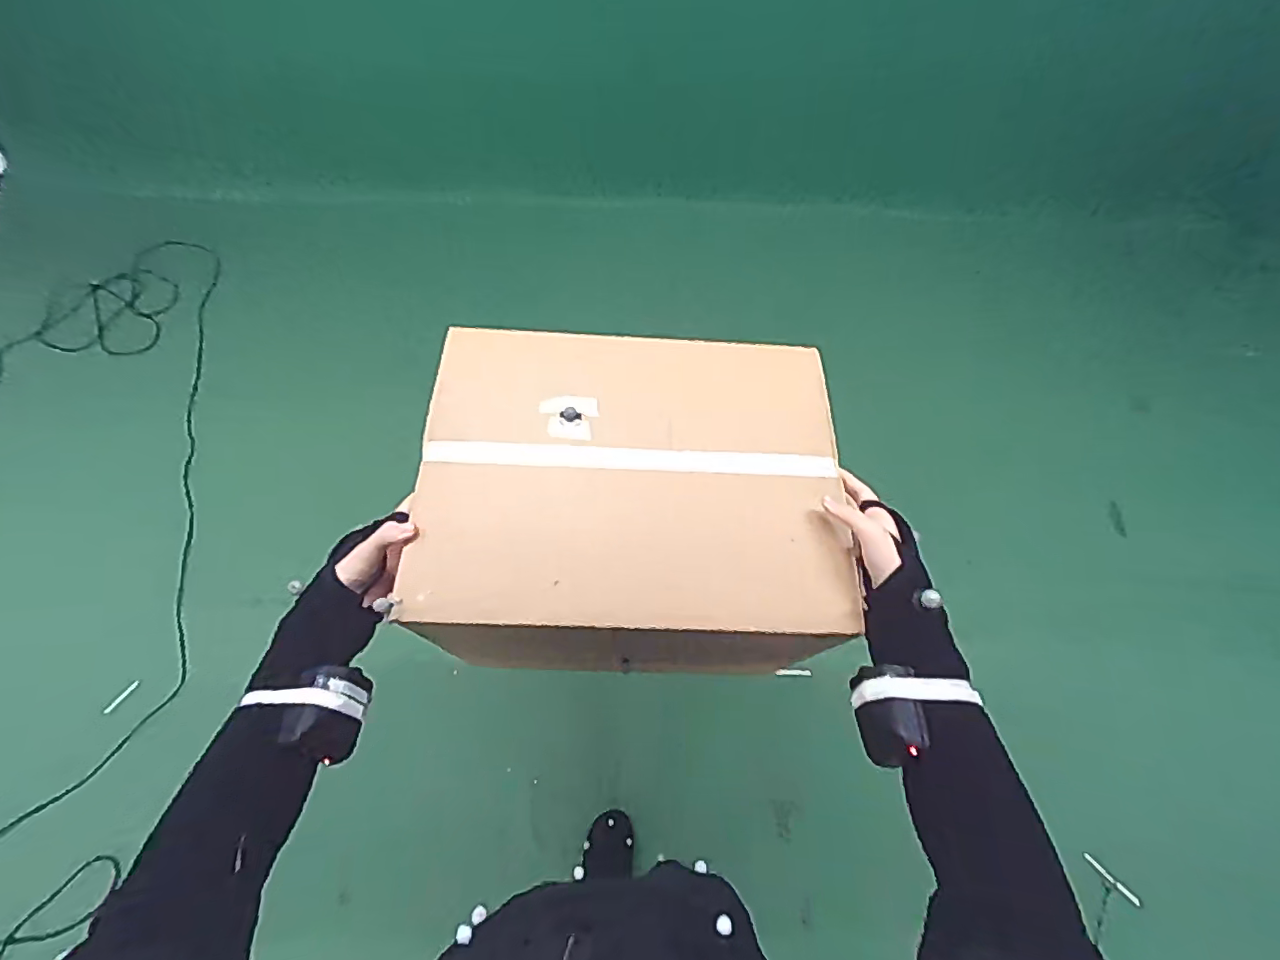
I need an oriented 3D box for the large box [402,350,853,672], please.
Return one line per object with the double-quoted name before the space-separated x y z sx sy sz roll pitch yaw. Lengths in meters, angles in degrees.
"large box" -0.012 0.062 0.670 0.408 0.320 0.320 2 63 -2
